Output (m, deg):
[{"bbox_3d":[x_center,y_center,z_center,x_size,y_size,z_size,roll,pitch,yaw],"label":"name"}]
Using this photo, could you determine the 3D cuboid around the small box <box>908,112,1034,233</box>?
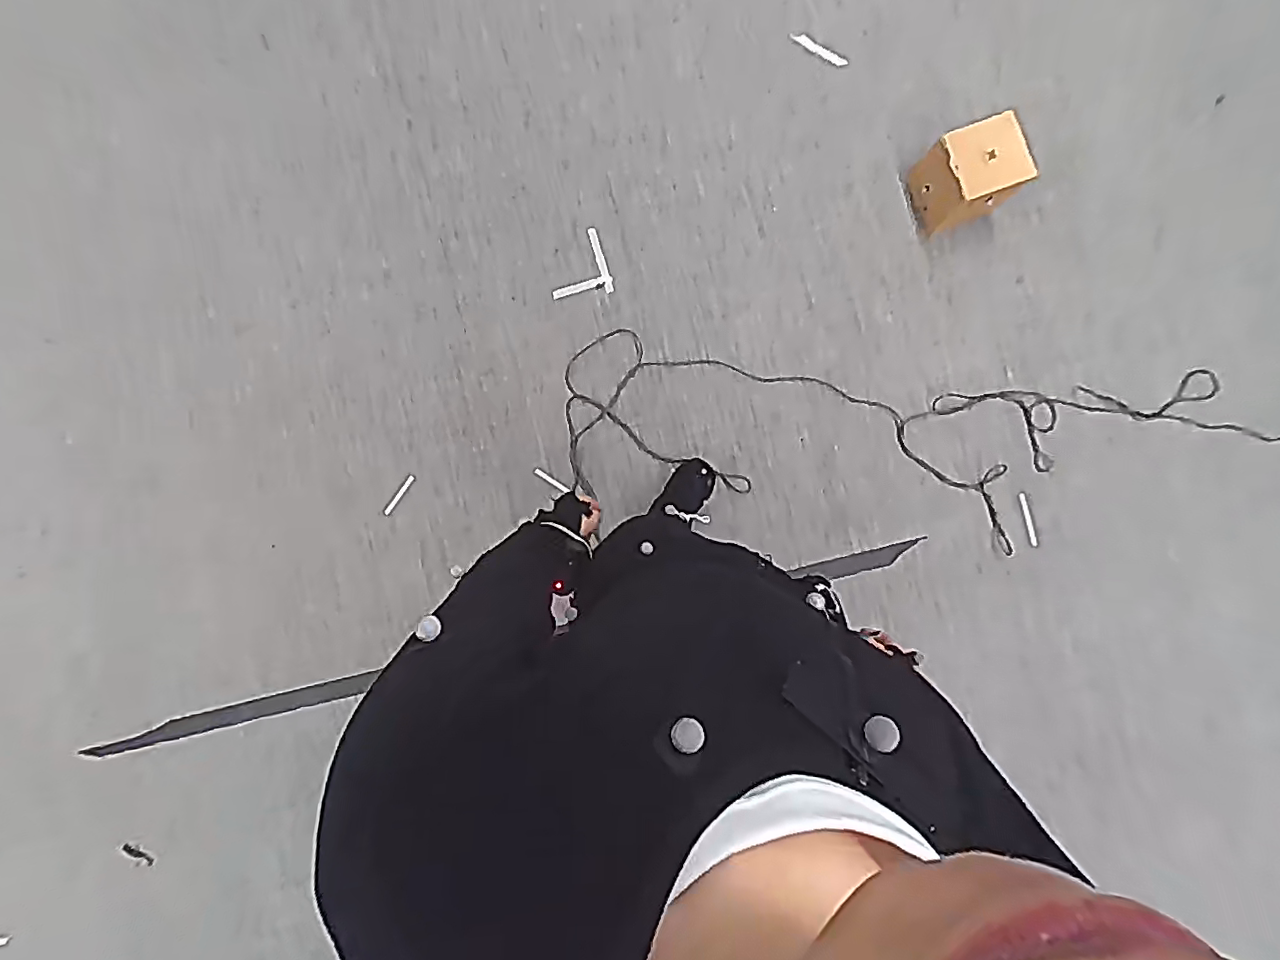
[{"bbox_3d":[0.794,-0.738,1.314,0.179,0.176,0.168,-20,89,0],"label":"small box"}]
